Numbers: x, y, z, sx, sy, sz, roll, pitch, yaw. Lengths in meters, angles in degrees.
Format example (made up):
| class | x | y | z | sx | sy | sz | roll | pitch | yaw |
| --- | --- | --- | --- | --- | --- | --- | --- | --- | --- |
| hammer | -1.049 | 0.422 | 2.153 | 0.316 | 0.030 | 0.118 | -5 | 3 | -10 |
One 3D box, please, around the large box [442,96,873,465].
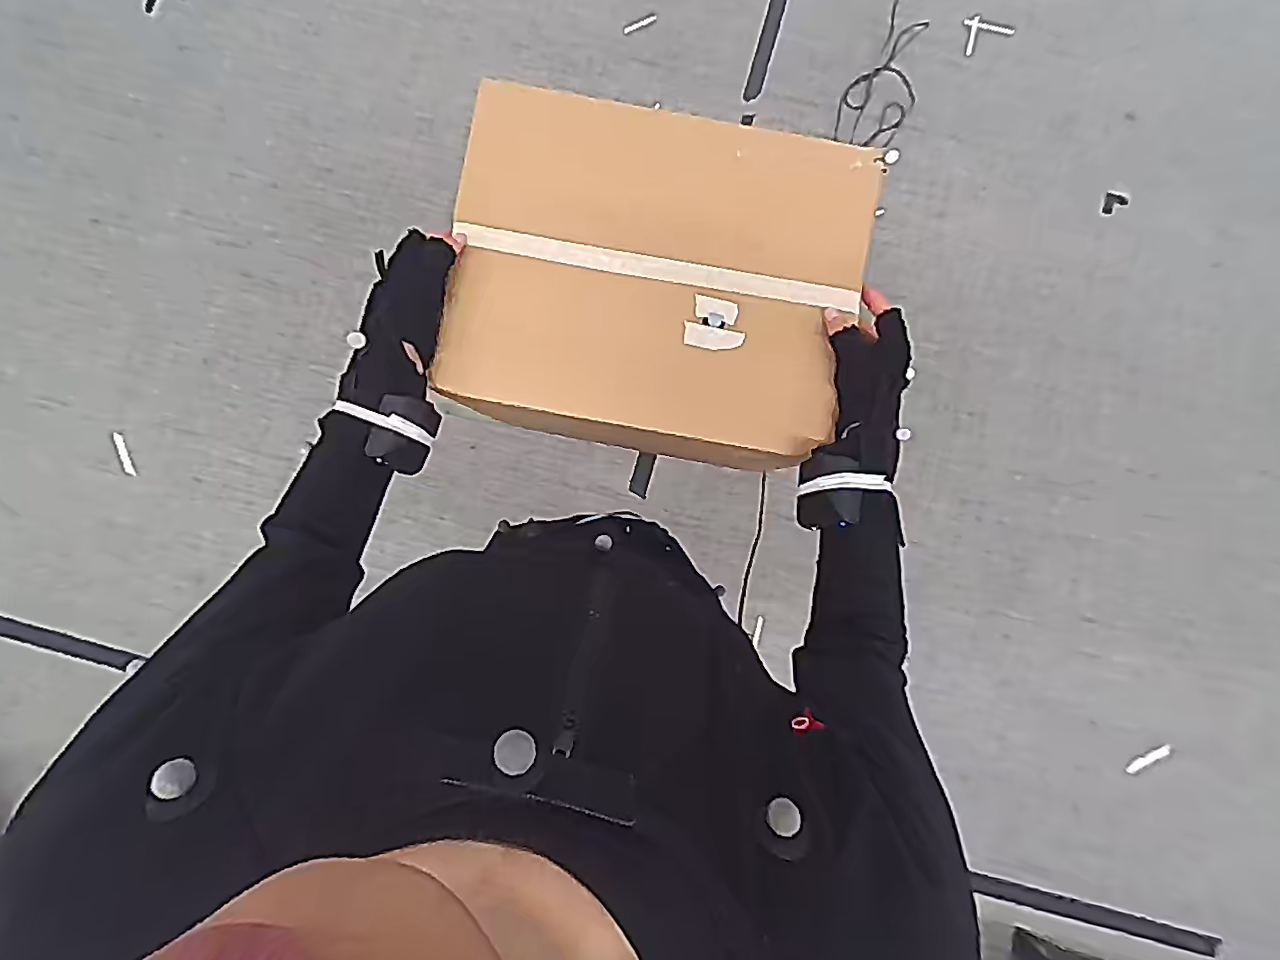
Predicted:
| class | x | y | z | sx | sy | sz | roll | pitch | yaw |
| --- | --- | --- | --- | --- | --- | --- | --- | --- | --- |
| large box | 0.016 | -0.208 | 0.697 | 0.408 | 0.320 | 0.320 | 11 | 90 | 0 |
